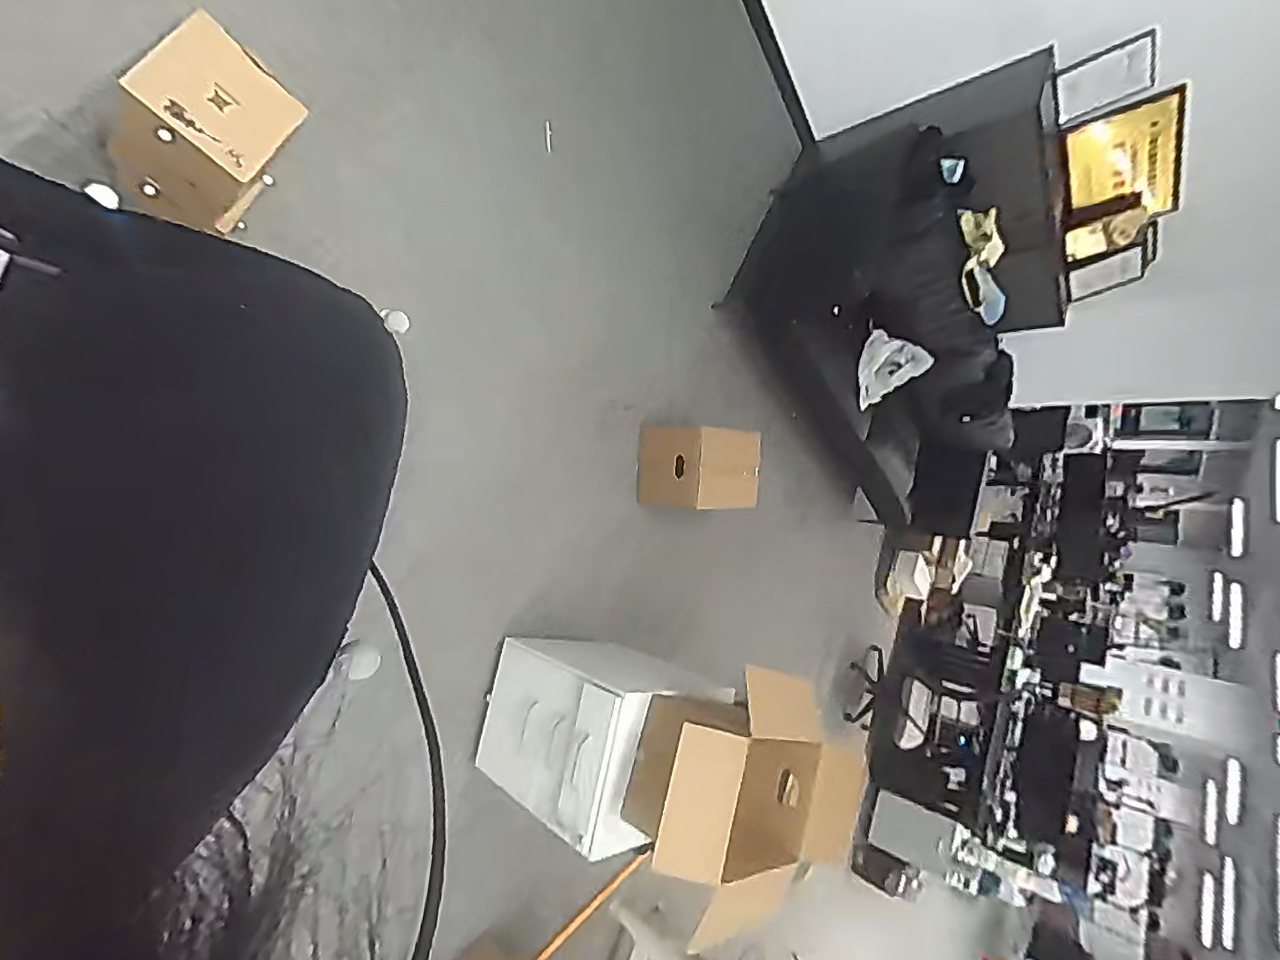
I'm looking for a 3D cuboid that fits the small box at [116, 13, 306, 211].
[{"bbox_3d":[-0.683,-0.569,0.858,0.168,0.176,0.179,42,63,-40],"label":"small box"}]

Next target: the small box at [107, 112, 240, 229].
[{"bbox_3d":[-0.804,-0.588,0.968,0.168,0.176,0.179,42,65,-40],"label":"small box"}]
